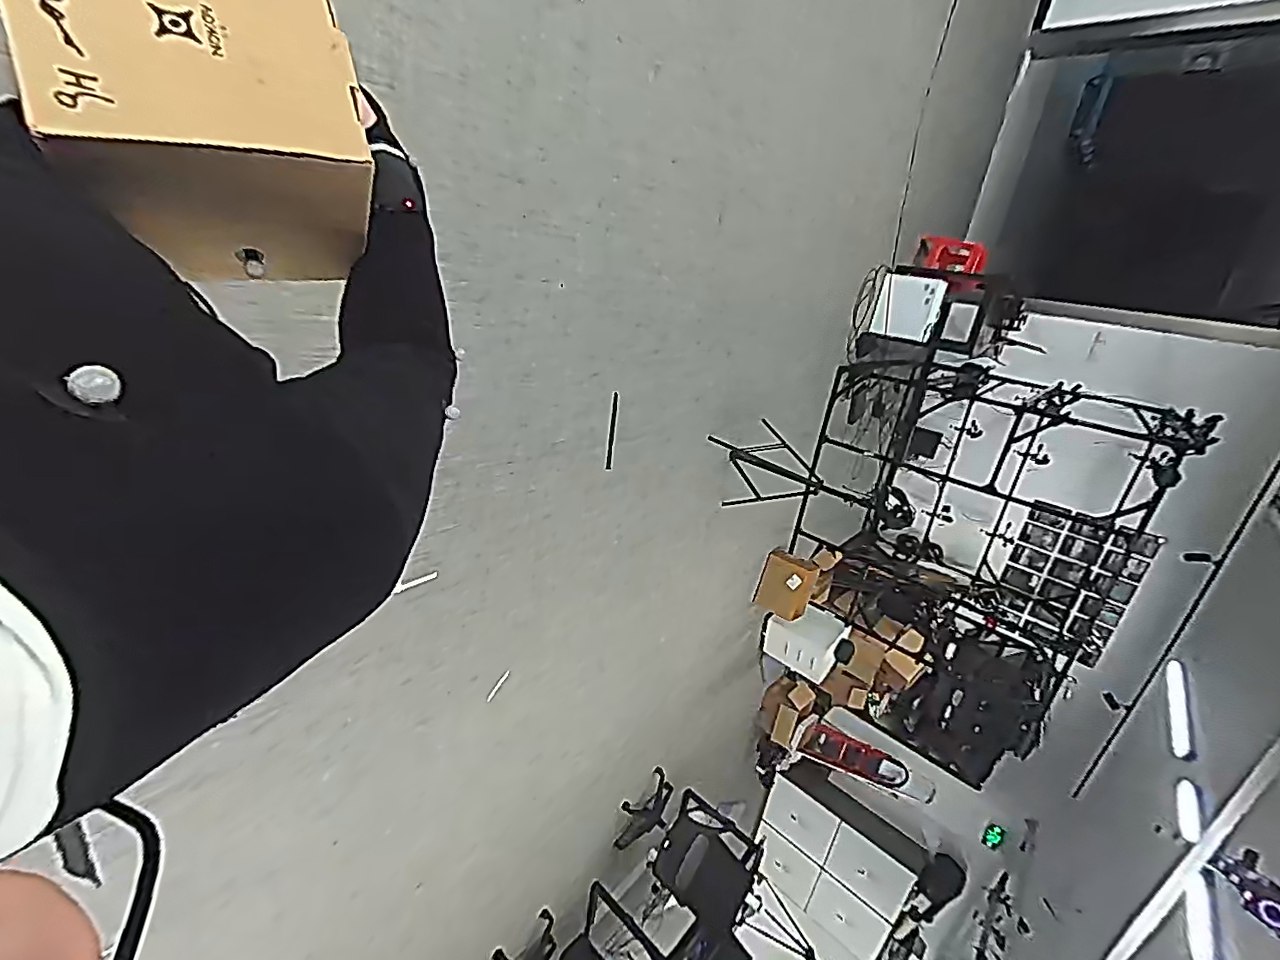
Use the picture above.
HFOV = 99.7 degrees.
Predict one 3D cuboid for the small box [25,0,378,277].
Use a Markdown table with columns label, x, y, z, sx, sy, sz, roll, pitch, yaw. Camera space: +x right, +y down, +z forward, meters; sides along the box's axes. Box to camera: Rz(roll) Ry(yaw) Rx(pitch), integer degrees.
| label | x | y | z | sx | sy | sz | roll | pitch | yaw |
| --- | --- | --- | --- | --- | --- | --- | --- | --- | --- |
| small box | -0.328 | -0.277 | 0.428 | 0.179 | 0.176 | 0.168 | -14 | 86 | -32 |
